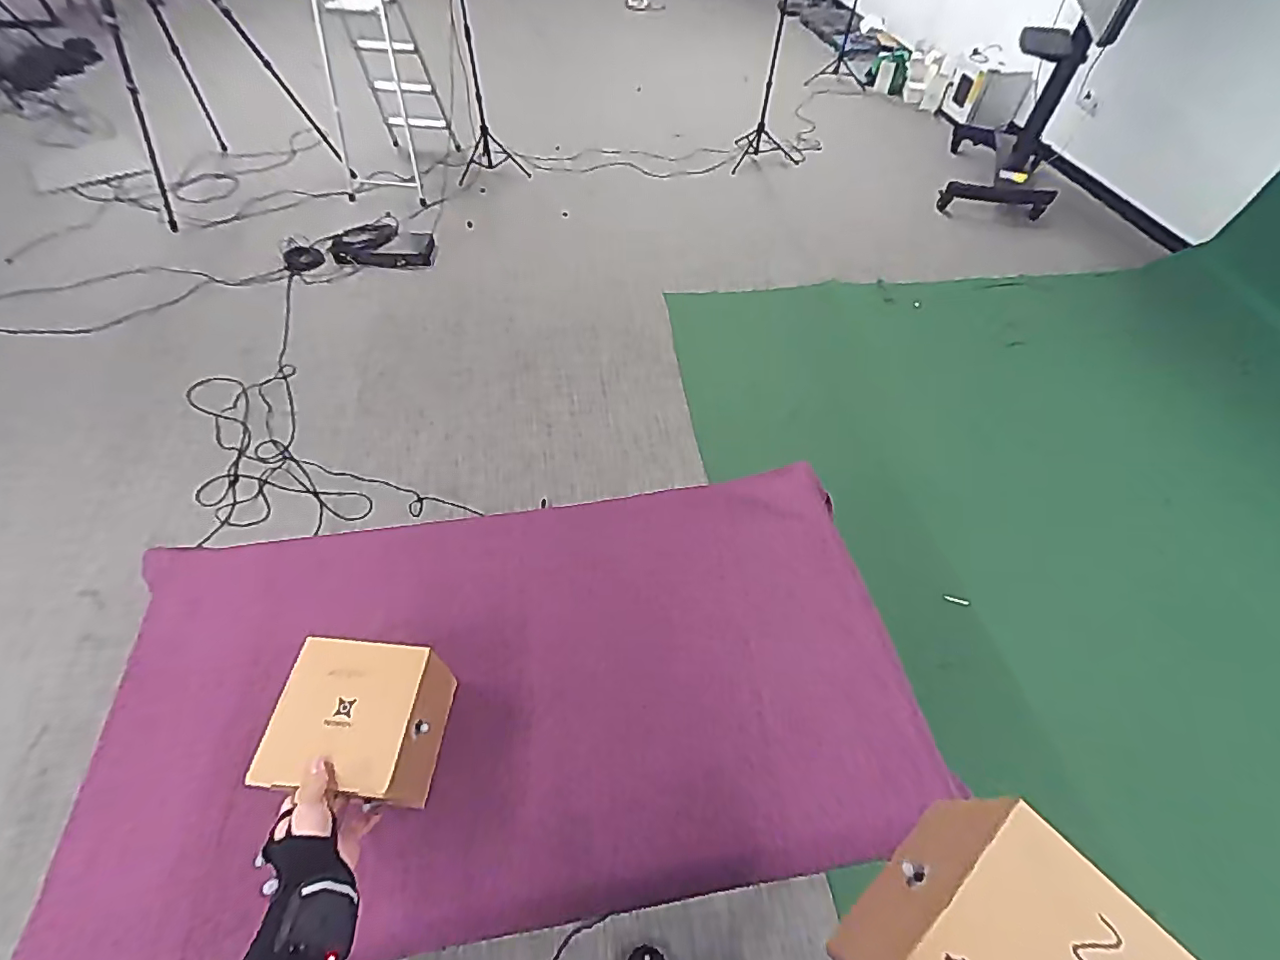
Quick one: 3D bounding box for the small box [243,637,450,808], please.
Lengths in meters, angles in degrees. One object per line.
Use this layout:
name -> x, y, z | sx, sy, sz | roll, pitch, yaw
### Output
small box -> -0.374, 0.333, 0.733 | 0.168, 0.176, 0.179 | 7, 55, 0
